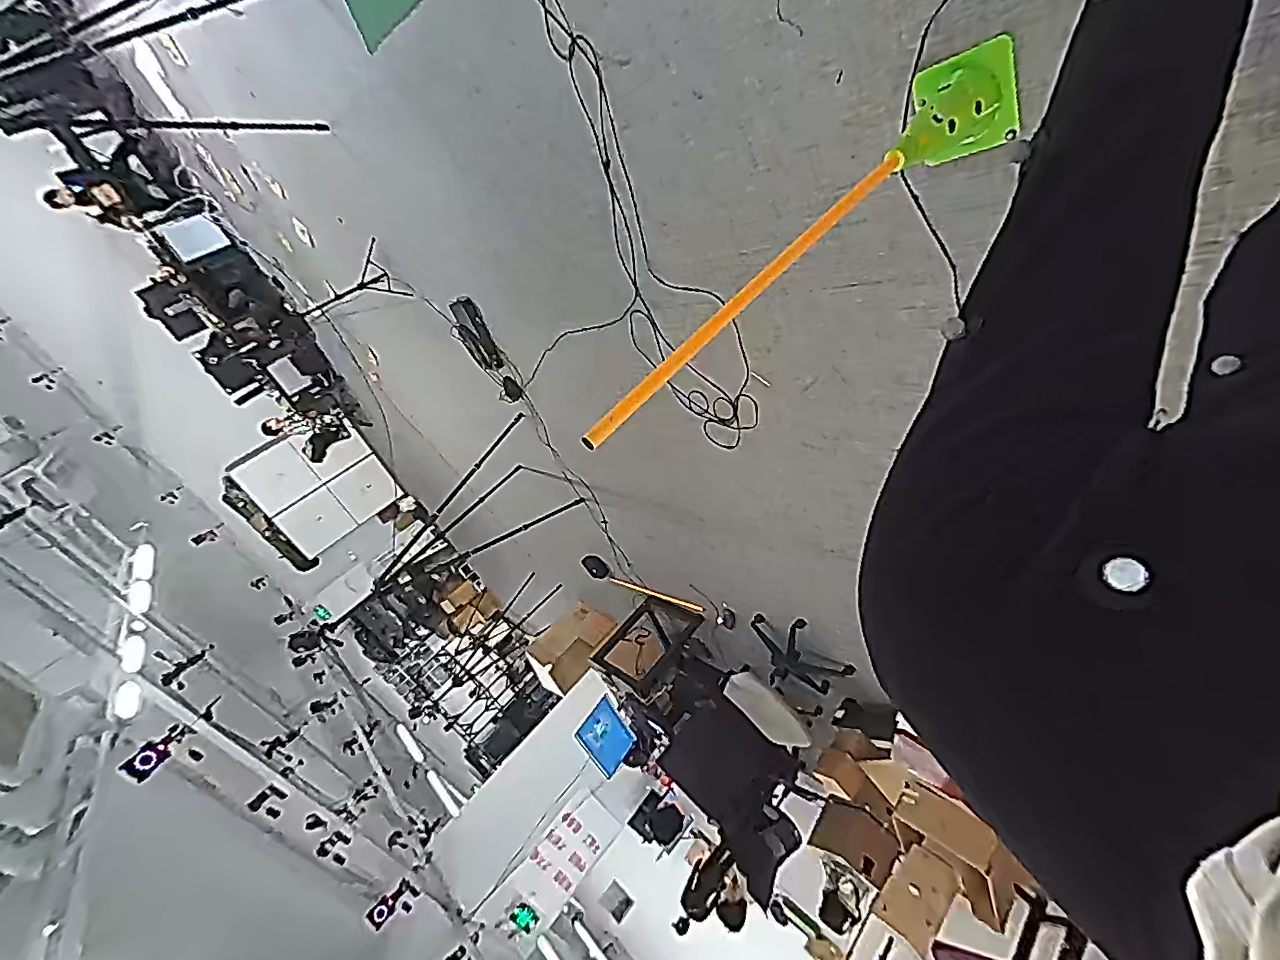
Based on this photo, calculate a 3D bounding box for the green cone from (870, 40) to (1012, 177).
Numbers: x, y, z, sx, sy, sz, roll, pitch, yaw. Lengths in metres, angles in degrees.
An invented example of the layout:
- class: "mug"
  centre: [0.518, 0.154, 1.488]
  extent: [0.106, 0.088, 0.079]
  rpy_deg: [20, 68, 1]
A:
- class: "green cone"
  centre: [0.588, -0.721, 1.124]
  extent: [0.202, 0.368, 0.200]
  rpy_deg: [11, 136, 51]
